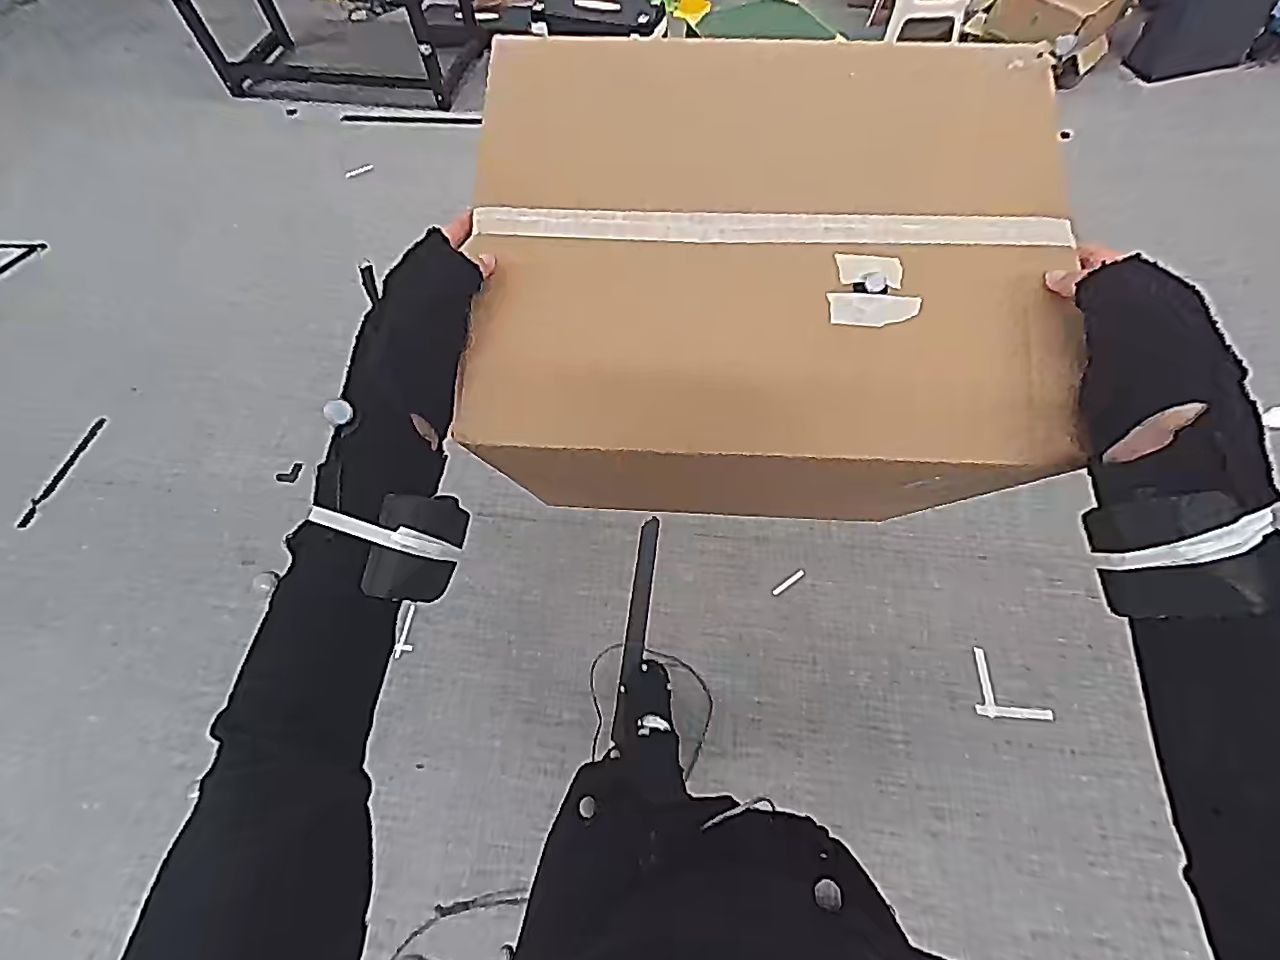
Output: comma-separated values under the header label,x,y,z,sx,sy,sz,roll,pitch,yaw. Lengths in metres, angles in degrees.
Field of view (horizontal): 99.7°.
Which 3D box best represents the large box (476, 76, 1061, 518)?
label,x,y,z,sx,sy,sz,roll,pitch,yaw
large box,0.089,-0.136,0.538,0.408,0.320,0.320,2,80,1
